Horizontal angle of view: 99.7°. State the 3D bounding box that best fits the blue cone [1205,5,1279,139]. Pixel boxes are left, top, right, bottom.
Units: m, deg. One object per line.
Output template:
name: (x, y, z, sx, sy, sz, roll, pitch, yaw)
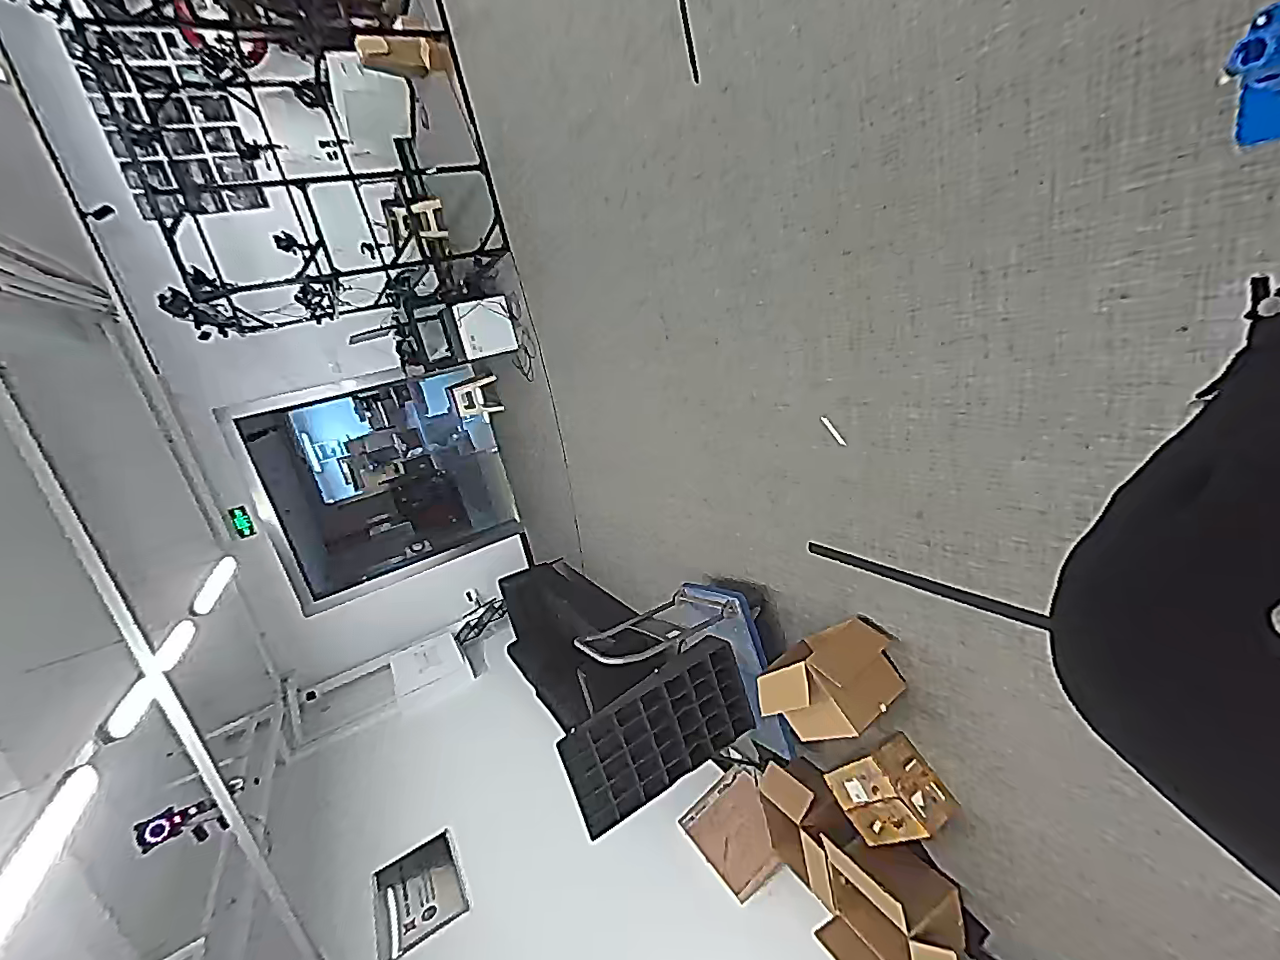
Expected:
blue cone: (0.917, -0.602, 0.764, 0.192, 0.380, 0.193, 24, 130, 58)
